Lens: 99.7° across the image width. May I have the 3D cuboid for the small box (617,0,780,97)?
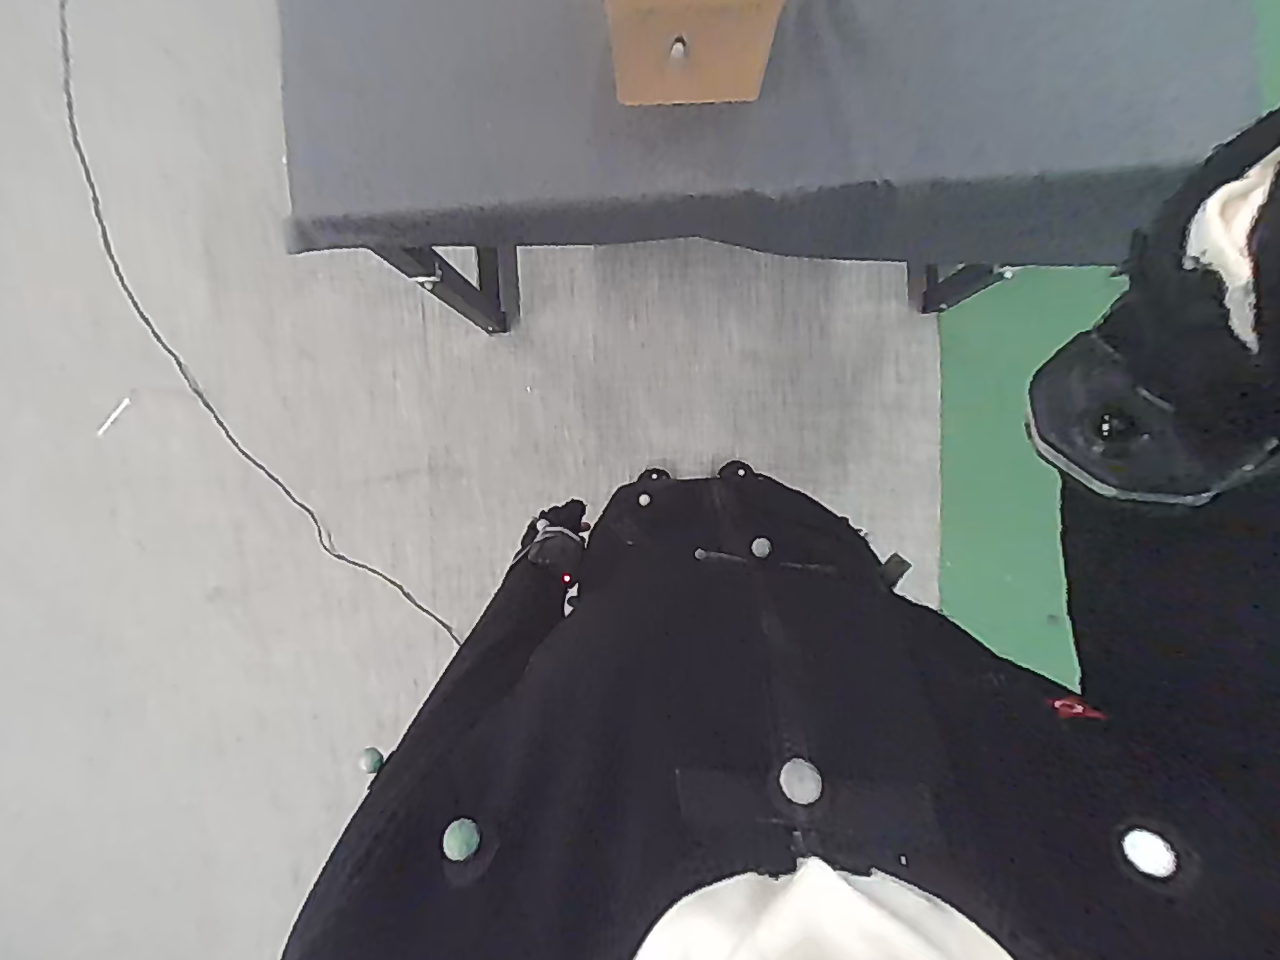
[{"bbox_3d":[0.061,-0.567,0.605,0.179,0.176,0.168,-3,91,2],"label":"small box"}]
